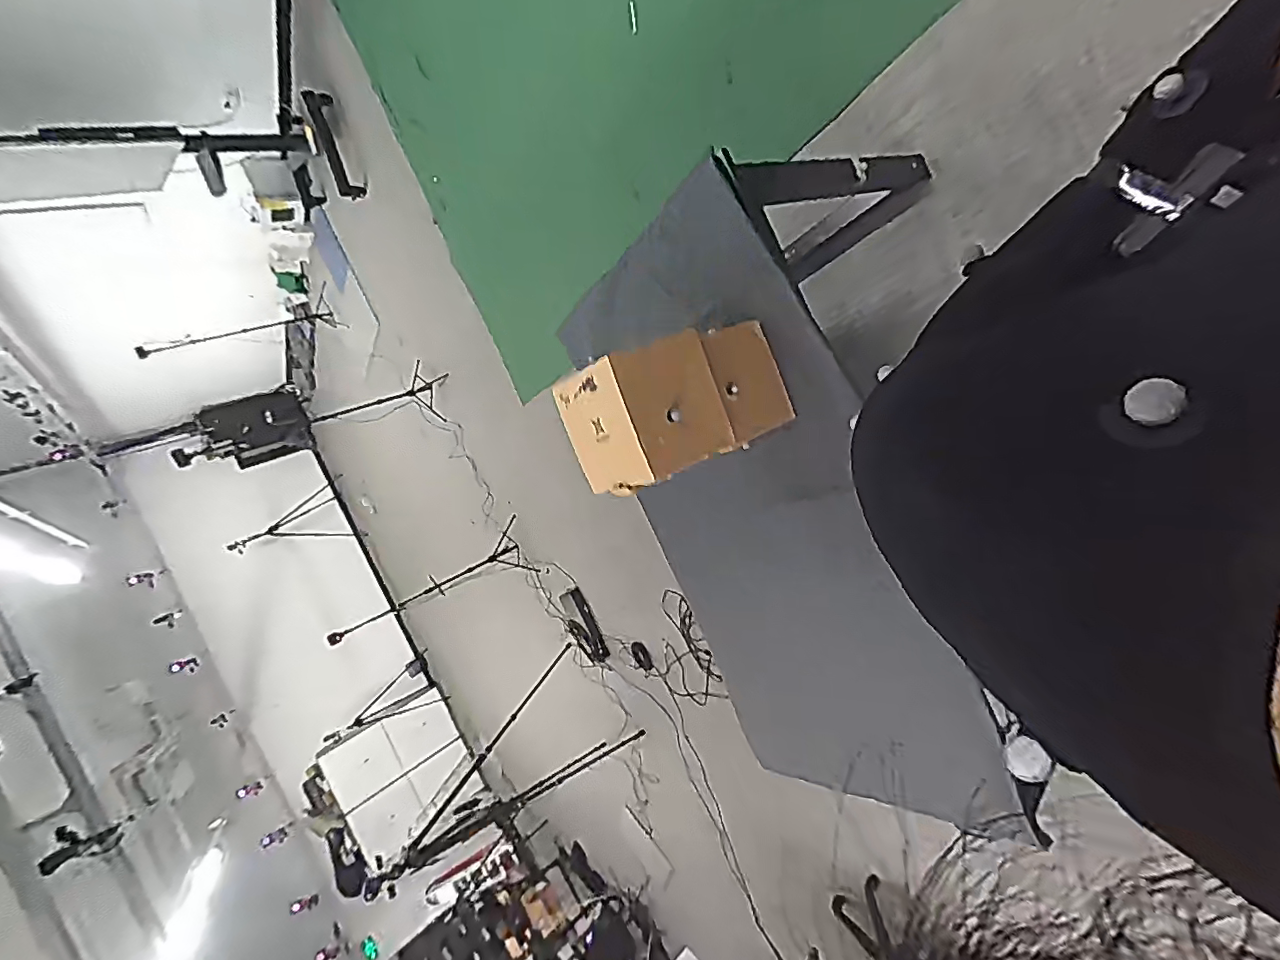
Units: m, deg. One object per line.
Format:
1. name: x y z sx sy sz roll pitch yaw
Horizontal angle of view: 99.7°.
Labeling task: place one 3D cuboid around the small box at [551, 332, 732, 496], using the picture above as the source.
1. small box: 0.005 -0.094 0.788 0.168 0.176 0.179 -12 103 54

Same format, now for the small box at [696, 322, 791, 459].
1. small box: 0.121 -0.140 0.897 0.168 0.176 0.179 -17 97 54
